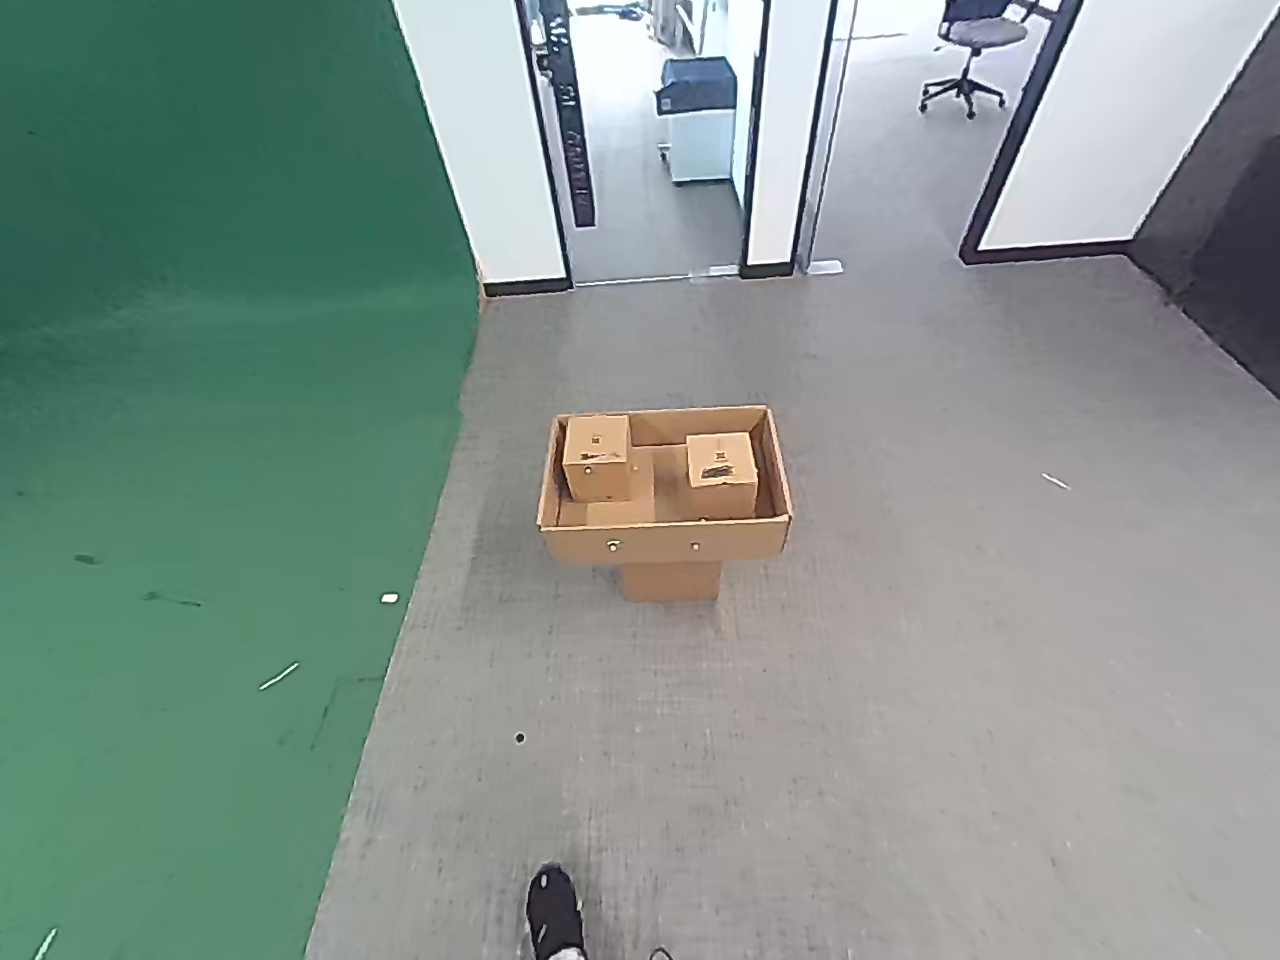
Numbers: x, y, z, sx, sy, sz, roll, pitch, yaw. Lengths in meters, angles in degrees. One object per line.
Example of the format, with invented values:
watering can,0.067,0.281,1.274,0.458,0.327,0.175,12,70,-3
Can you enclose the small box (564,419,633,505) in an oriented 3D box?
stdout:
small box,-0.108,-0.051,1.497,0.168,0.176,0.179,-1,50,4
